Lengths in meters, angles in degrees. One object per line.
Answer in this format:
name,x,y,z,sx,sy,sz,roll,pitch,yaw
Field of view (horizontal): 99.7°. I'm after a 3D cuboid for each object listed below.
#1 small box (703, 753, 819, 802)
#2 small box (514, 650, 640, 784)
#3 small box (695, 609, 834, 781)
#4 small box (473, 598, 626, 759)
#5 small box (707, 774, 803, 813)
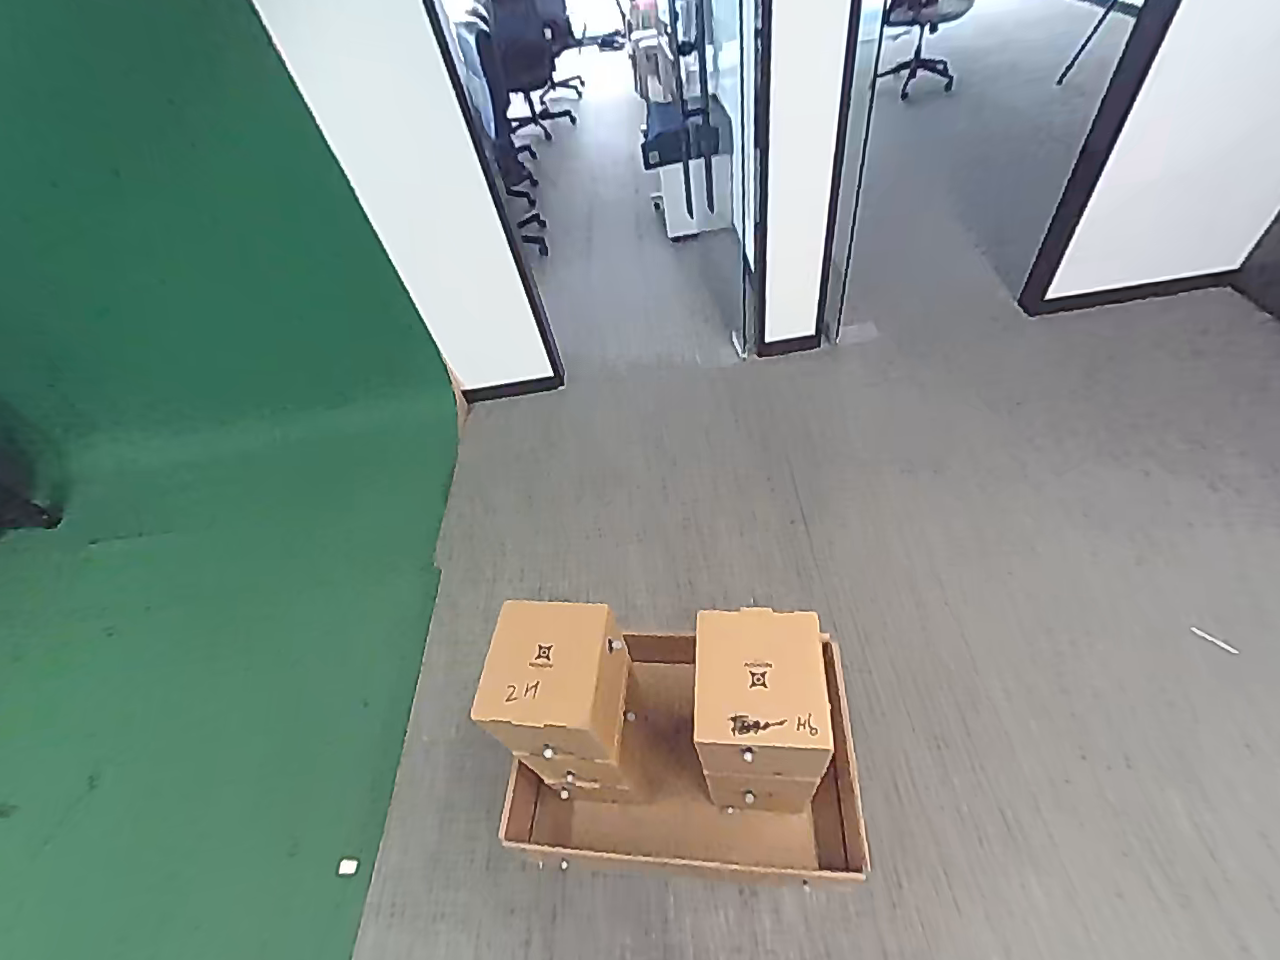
small box,0.192,0.404,0.880,0.168,0.176,0.179,-1,51,11
small box,-0.096,0.406,0.937,0.168,0.176,0.179,0,51,11
small box,0.168,0.299,0.756,0.168,0.176,0.179,-1,50,11
small box,-0.121,0.298,0.814,0.168,0.176,0.179,0,51,12
small box,0.216,0.504,1.006,0.168,0.176,0.179,0,50,11
